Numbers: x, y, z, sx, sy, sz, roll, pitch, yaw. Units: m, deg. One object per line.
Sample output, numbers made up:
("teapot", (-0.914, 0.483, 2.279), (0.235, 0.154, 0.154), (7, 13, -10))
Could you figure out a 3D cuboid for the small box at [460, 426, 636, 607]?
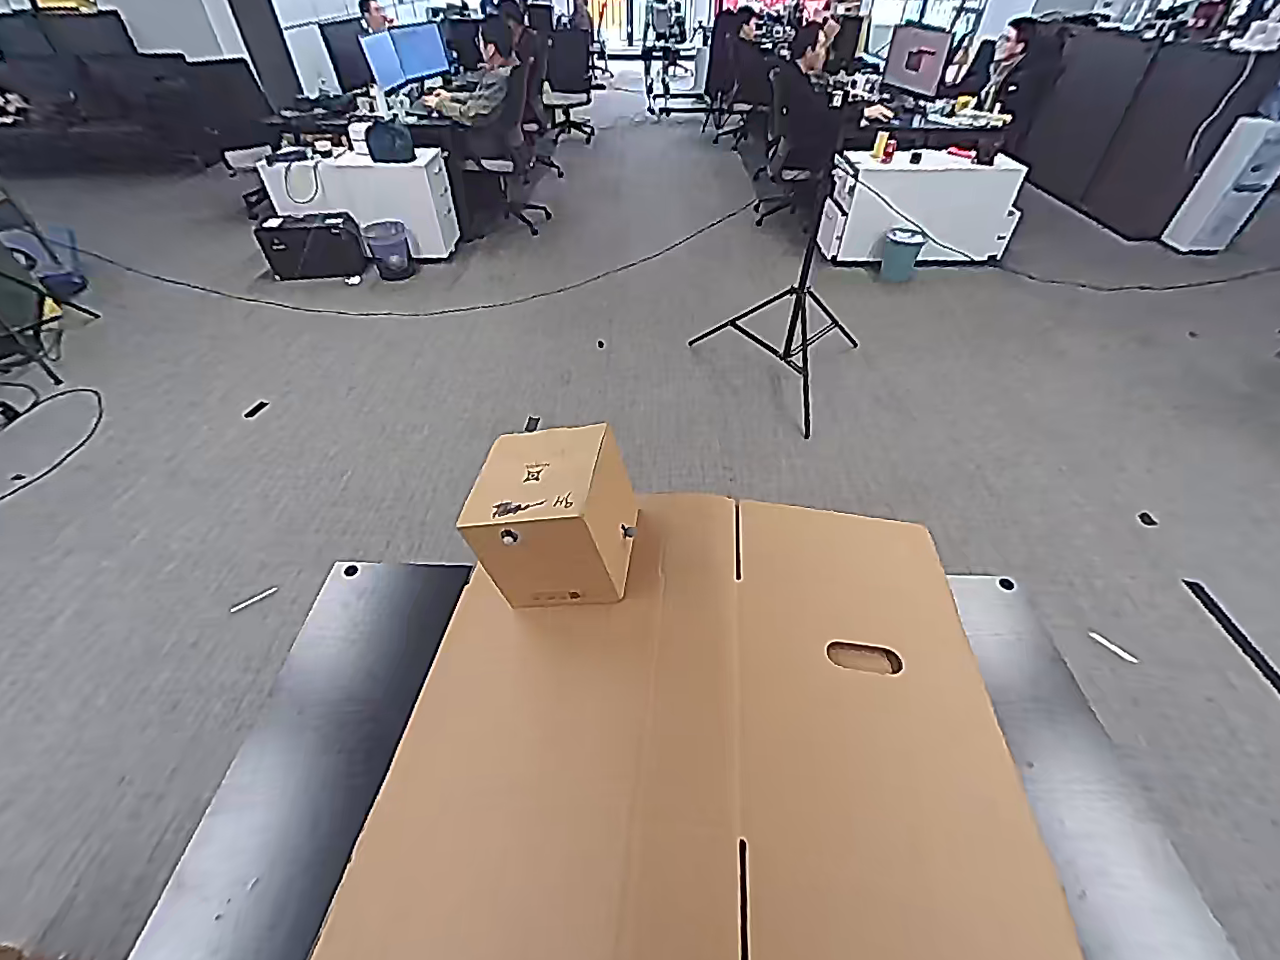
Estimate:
("small box", (-0.109, 0.051, 0.736), (0.168, 0.176, 0.179), (-6, 41, 15))
